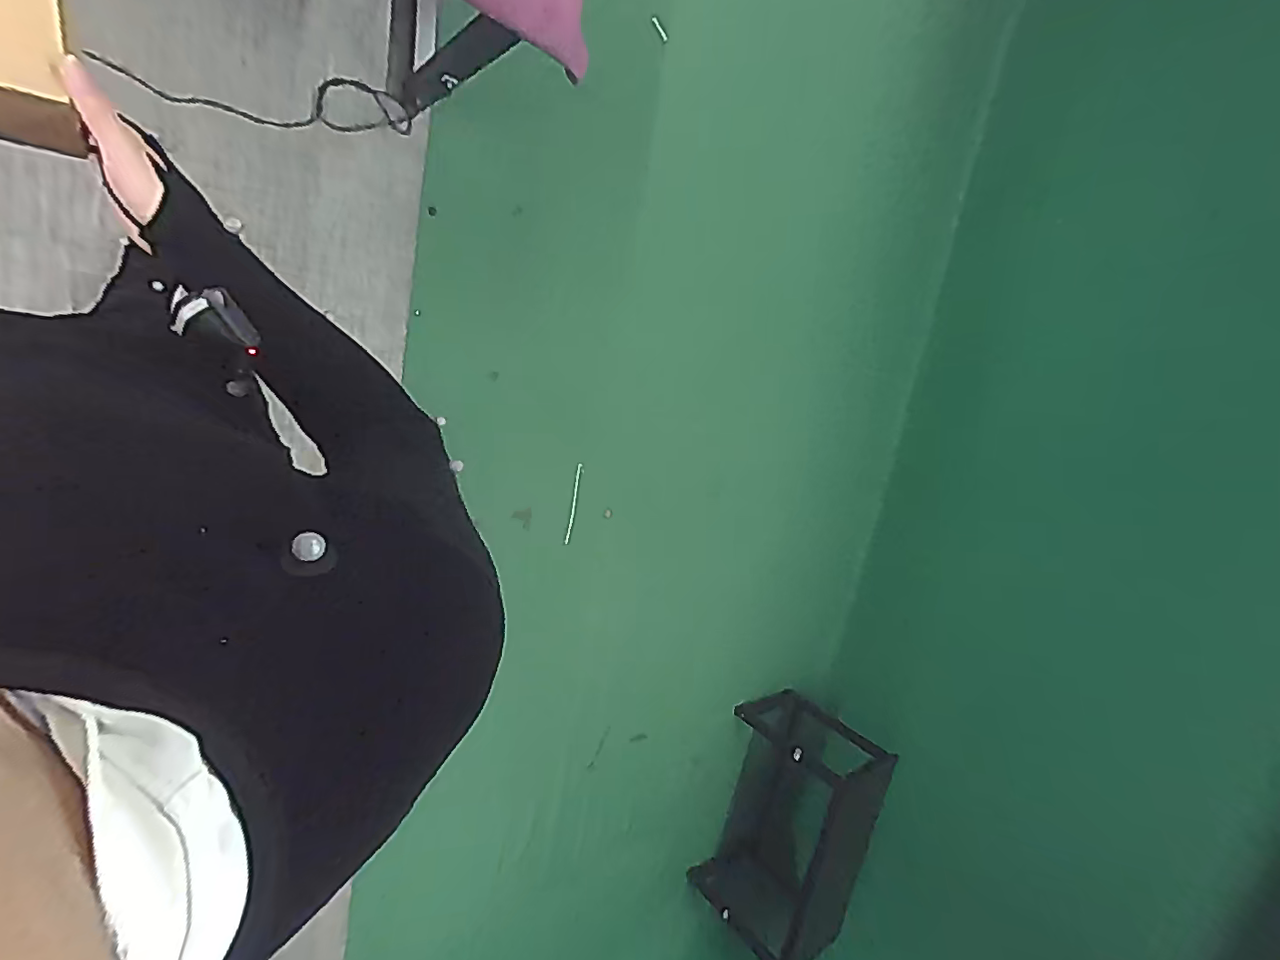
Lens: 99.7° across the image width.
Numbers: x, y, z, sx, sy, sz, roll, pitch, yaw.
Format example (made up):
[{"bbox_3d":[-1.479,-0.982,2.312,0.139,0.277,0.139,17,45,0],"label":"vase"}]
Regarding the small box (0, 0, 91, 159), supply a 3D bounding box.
[{"bbox_3d":[-0.514,-0.359,0.380,0.168,0.176,0.179,-5,106,-42],"label":"small box"}]
